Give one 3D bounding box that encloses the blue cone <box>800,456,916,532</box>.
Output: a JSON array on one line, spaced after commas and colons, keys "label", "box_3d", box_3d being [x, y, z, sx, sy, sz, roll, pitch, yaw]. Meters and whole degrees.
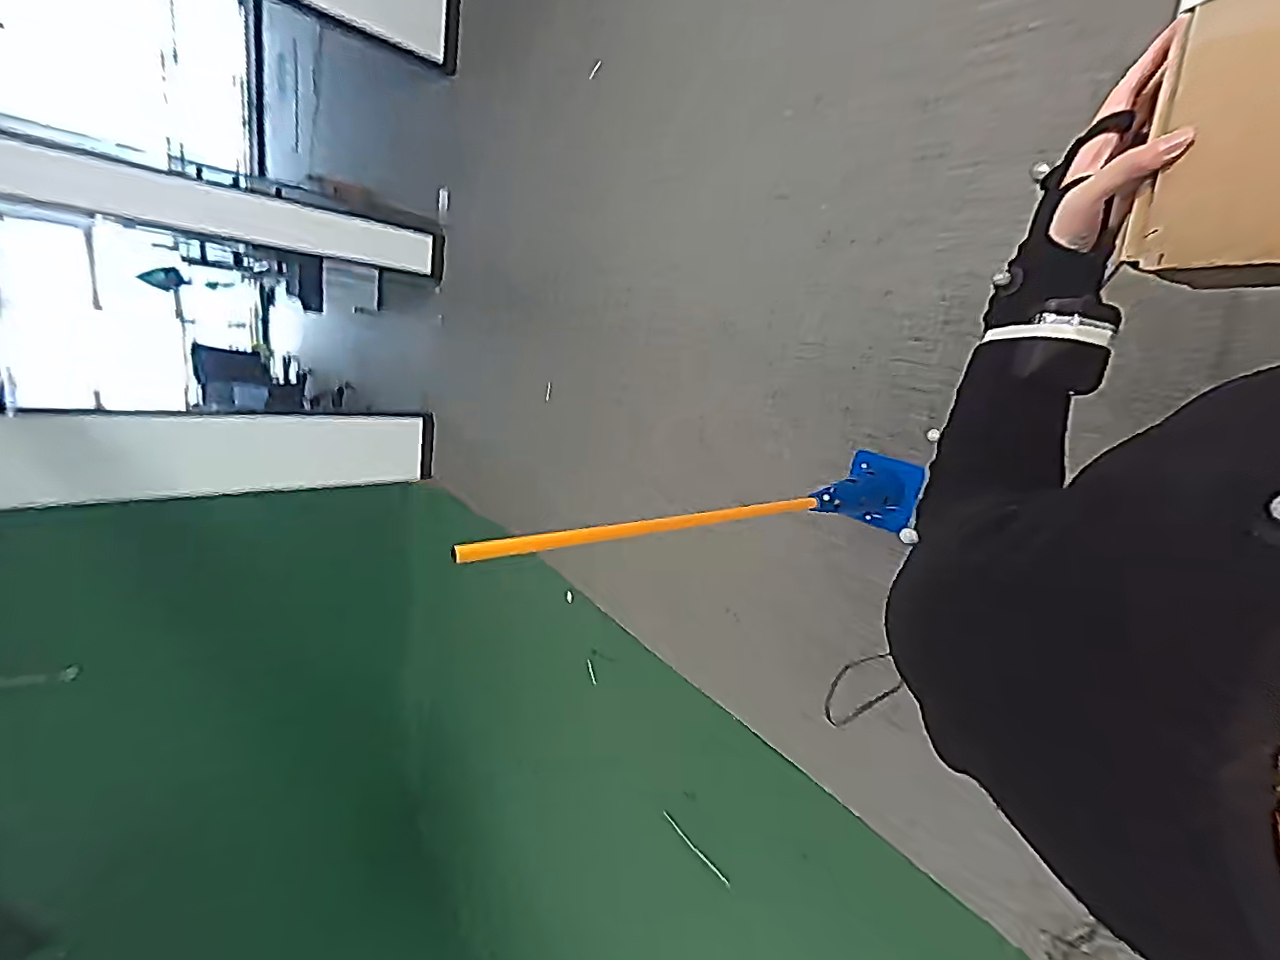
[{"label": "blue cone", "box_3d": [0.533, 0.046, 1.397, 0.193, 0.380, 0.192, 24, 111, 46]}]
